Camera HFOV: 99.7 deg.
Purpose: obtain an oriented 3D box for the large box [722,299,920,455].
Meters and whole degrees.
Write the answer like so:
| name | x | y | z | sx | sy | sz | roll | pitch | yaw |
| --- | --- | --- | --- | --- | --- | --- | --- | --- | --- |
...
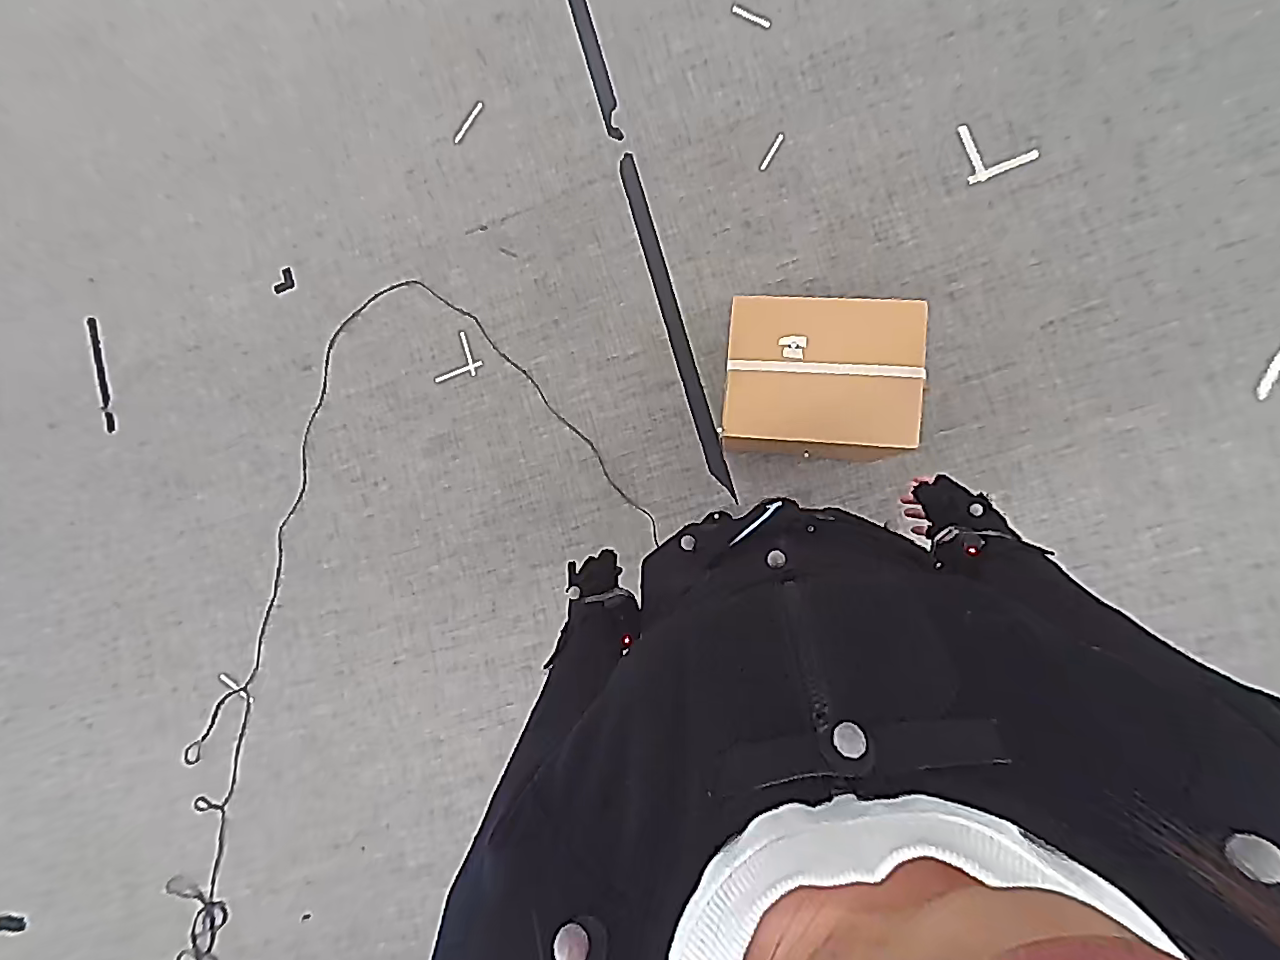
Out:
| name | x | y | z | sx | sy | sz | roll | pitch | yaw |
| --- | --- | --- | --- | --- | --- | --- | --- | --- | --- |
| large box | 0.413 | -0.231 | 1.312 | 0.408 | 0.320 | 0.320 | 4 | 87 | 10 |
